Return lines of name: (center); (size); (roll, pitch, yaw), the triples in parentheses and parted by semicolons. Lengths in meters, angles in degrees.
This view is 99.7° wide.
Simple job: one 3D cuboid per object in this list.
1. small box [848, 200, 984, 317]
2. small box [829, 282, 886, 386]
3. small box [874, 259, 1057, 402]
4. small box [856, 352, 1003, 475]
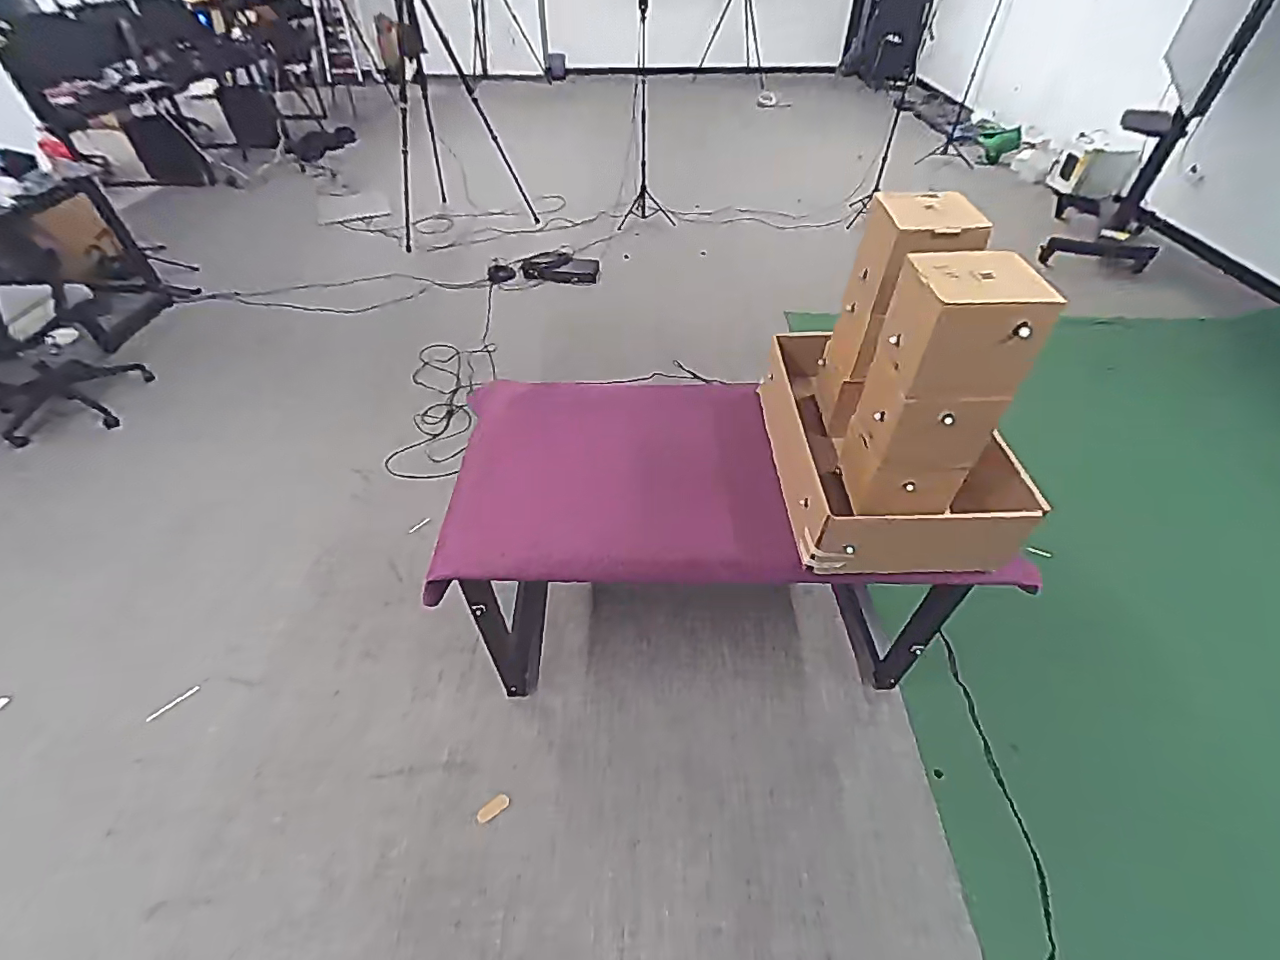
small box: (0.528, -0.430, 1.064); (0.168, 0.176, 0.179); (1, 48, 1)
small box: (0.528, -0.316, 1.182); (0.168, 0.176, 0.179); (1, 47, 2)
small box: (0.511, -0.240, 0.880); (0.179, 0.176, 0.168); (0, 46, 2)
small box: (0.514, -0.123, 0.996); (0.179, 0.176, 0.168); (1, 46, 2)
